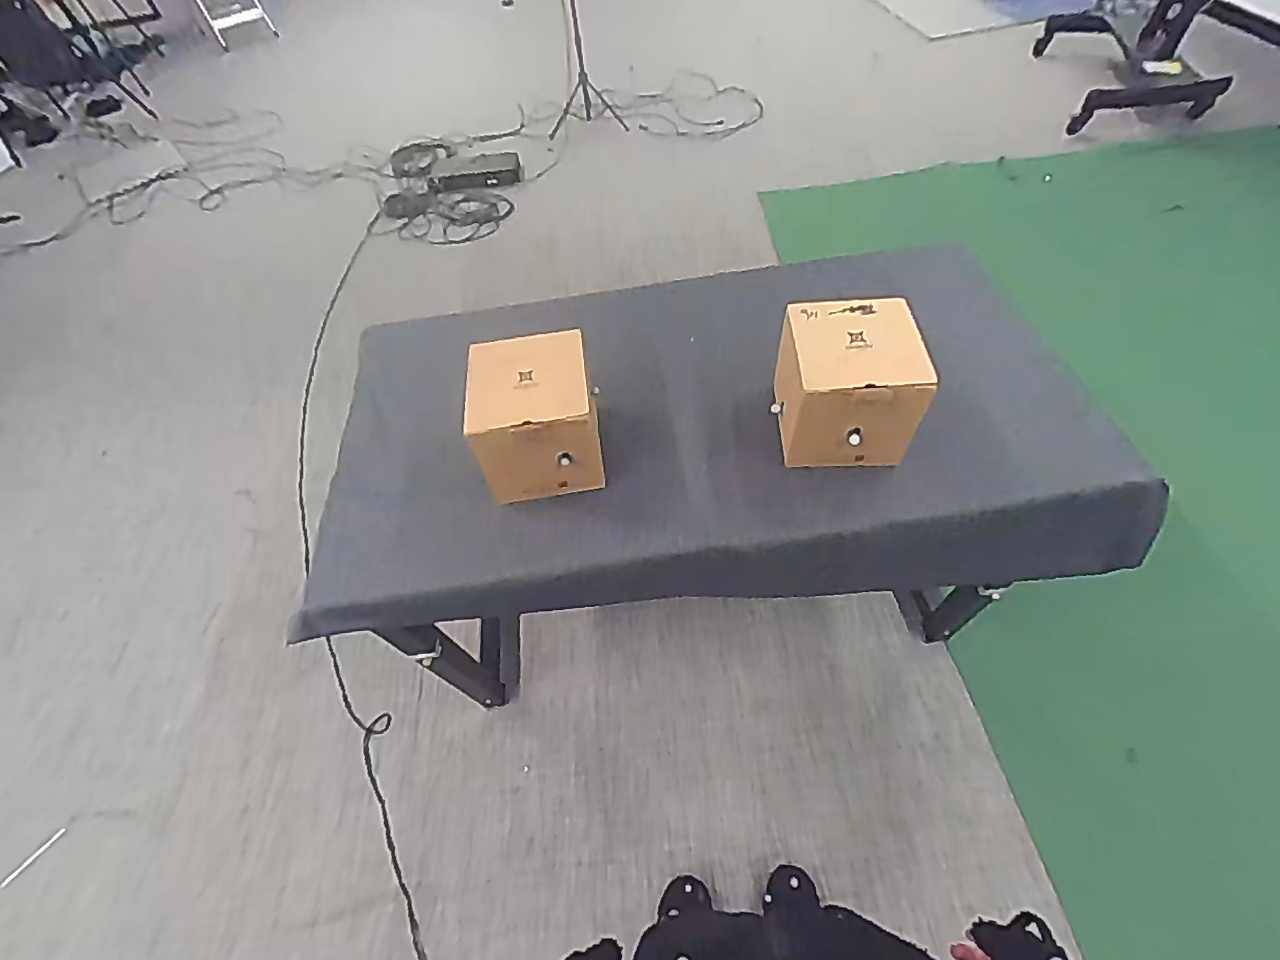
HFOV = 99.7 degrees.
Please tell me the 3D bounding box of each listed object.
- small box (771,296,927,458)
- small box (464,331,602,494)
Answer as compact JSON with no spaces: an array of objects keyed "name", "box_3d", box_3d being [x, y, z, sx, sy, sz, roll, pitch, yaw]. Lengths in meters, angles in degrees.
[{"name":"small box","box_3d":[0.292,-0.143,0.797,0.168,0.176,0.179,-2,57,5]},{"name":"small box","box_3d":[-0.154,-0.093,0.814,0.168,0.176,0.179,-9,54,-2]}]
